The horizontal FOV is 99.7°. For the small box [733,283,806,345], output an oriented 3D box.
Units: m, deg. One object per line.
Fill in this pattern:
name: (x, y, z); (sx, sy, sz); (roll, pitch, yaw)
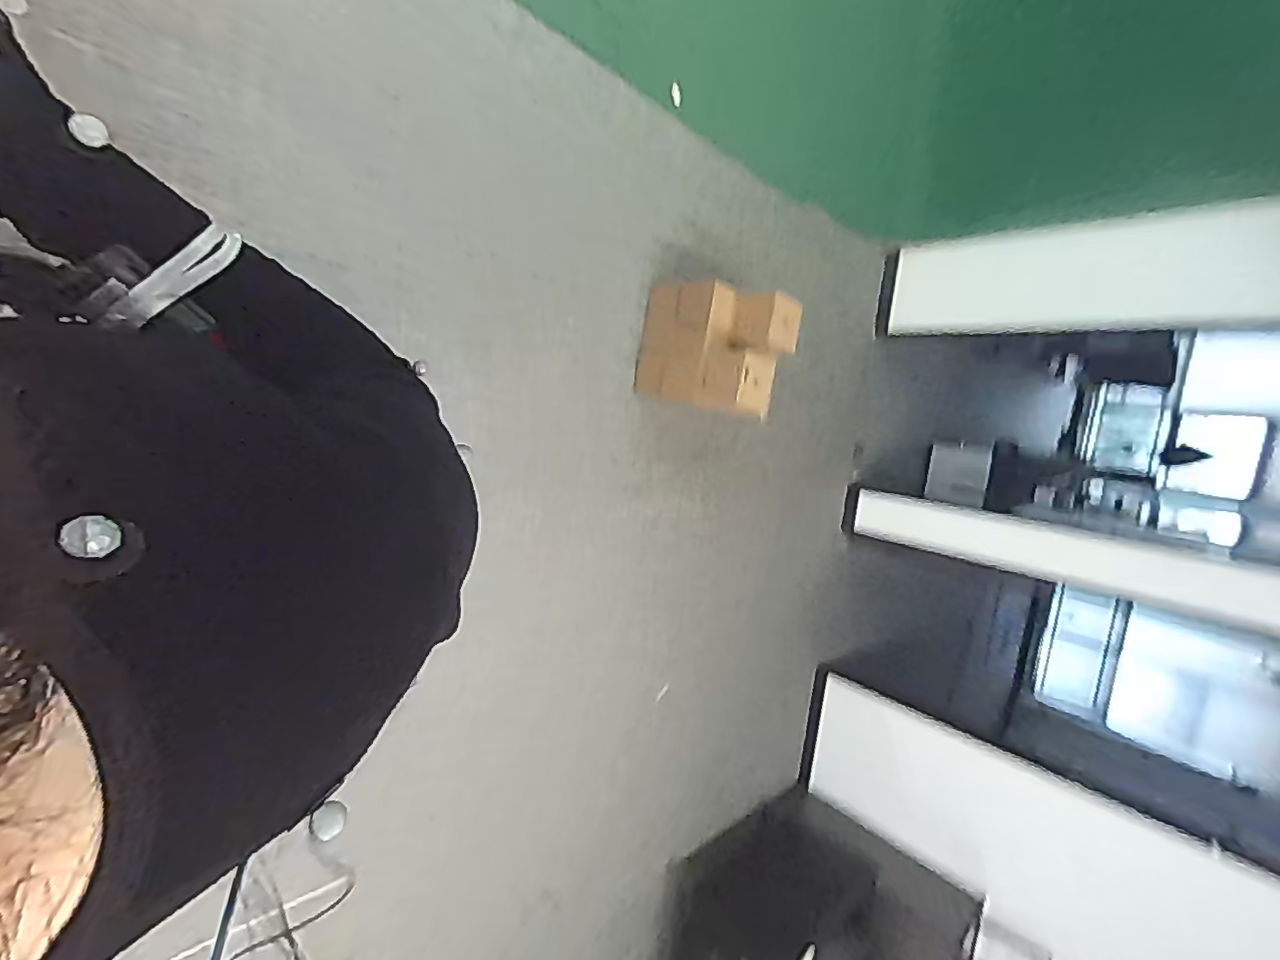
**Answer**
small box: (0.440, -0.560, 1.850); (0.179, 0.176, 0.168); (4, 97, -46)

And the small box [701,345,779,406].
small box: (0.330, -0.349, 1.790); (0.179, 0.176, 0.168); (7, 96, -46)
